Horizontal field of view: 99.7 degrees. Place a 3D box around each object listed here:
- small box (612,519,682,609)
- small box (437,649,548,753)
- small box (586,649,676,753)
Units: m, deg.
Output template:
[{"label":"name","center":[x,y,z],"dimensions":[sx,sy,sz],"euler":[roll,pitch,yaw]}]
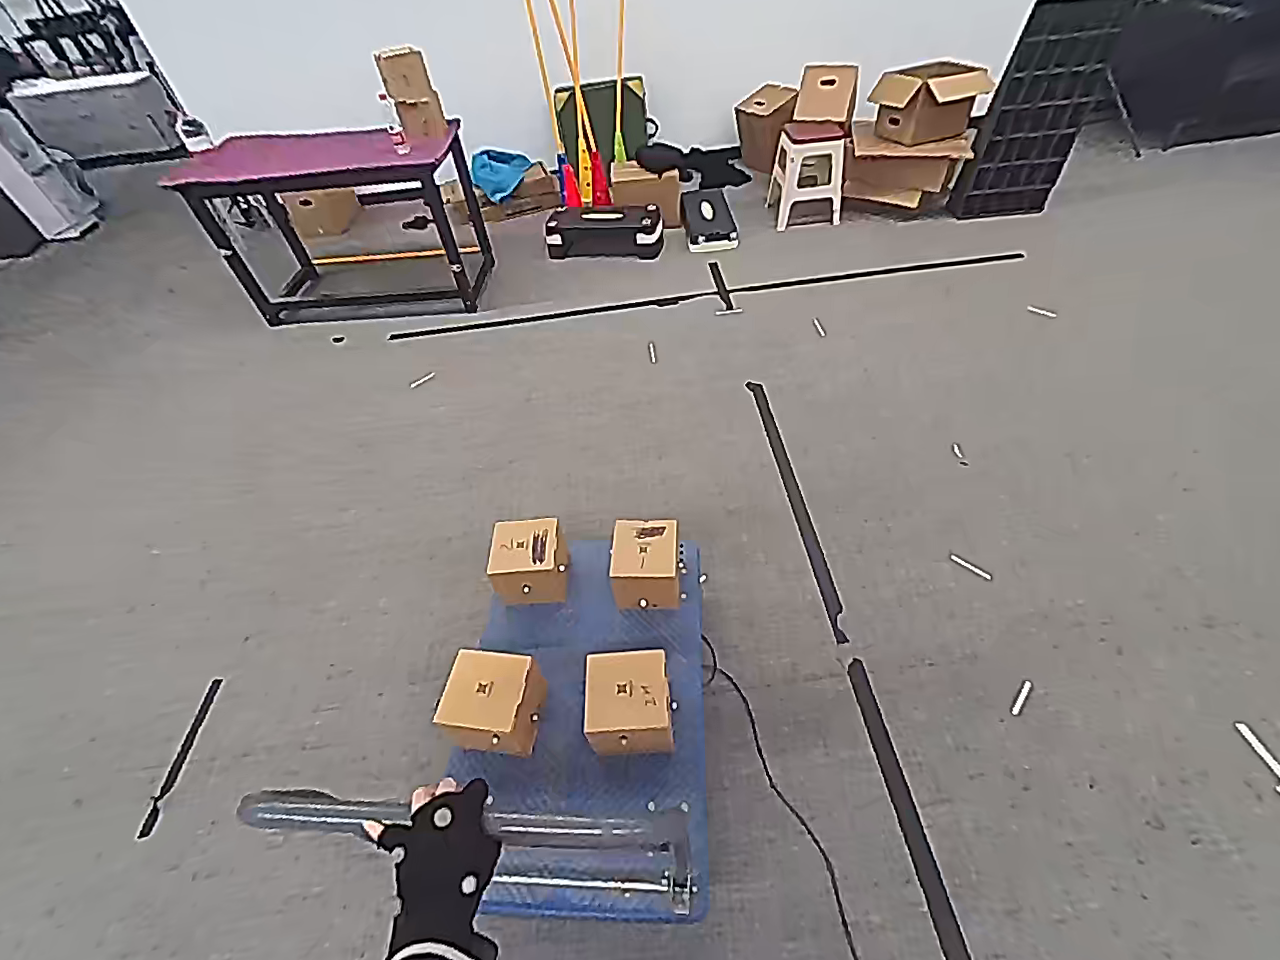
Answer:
[{"label":"small box","center":[0.024,0.223,1.437],"dimensions":[0.168,0.176,0.179],"euler":[0,49,7]},{"label":"small box","center":[-0.323,0.504,1.228],"dimensions":[0.179,0.176,0.168],"euler":[3,48,8]},{"label":"small box","center":[-0.016,0.493,1.200],"dimensions":[0.179,0.176,0.168],"euler":[-5,48,3]}]
